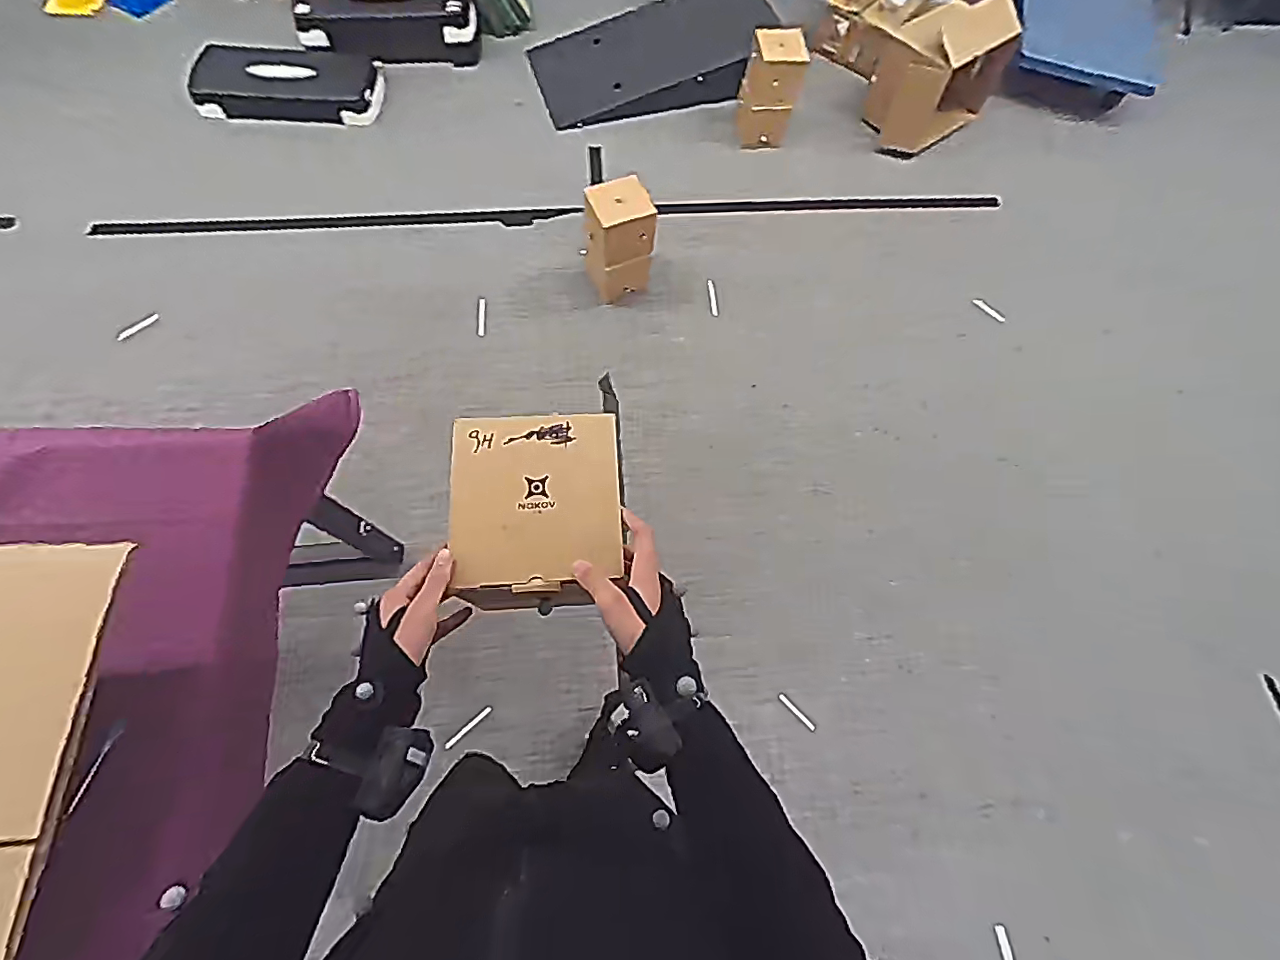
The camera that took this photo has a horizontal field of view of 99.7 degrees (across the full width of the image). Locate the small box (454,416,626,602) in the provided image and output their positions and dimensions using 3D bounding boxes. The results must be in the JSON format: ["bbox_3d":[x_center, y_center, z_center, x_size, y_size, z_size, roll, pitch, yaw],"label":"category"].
[{"bbox_3d":[-0.101,0.043,0.610,0.168,0.176,0.179,-2,71,-5],"label":"small box"}]
